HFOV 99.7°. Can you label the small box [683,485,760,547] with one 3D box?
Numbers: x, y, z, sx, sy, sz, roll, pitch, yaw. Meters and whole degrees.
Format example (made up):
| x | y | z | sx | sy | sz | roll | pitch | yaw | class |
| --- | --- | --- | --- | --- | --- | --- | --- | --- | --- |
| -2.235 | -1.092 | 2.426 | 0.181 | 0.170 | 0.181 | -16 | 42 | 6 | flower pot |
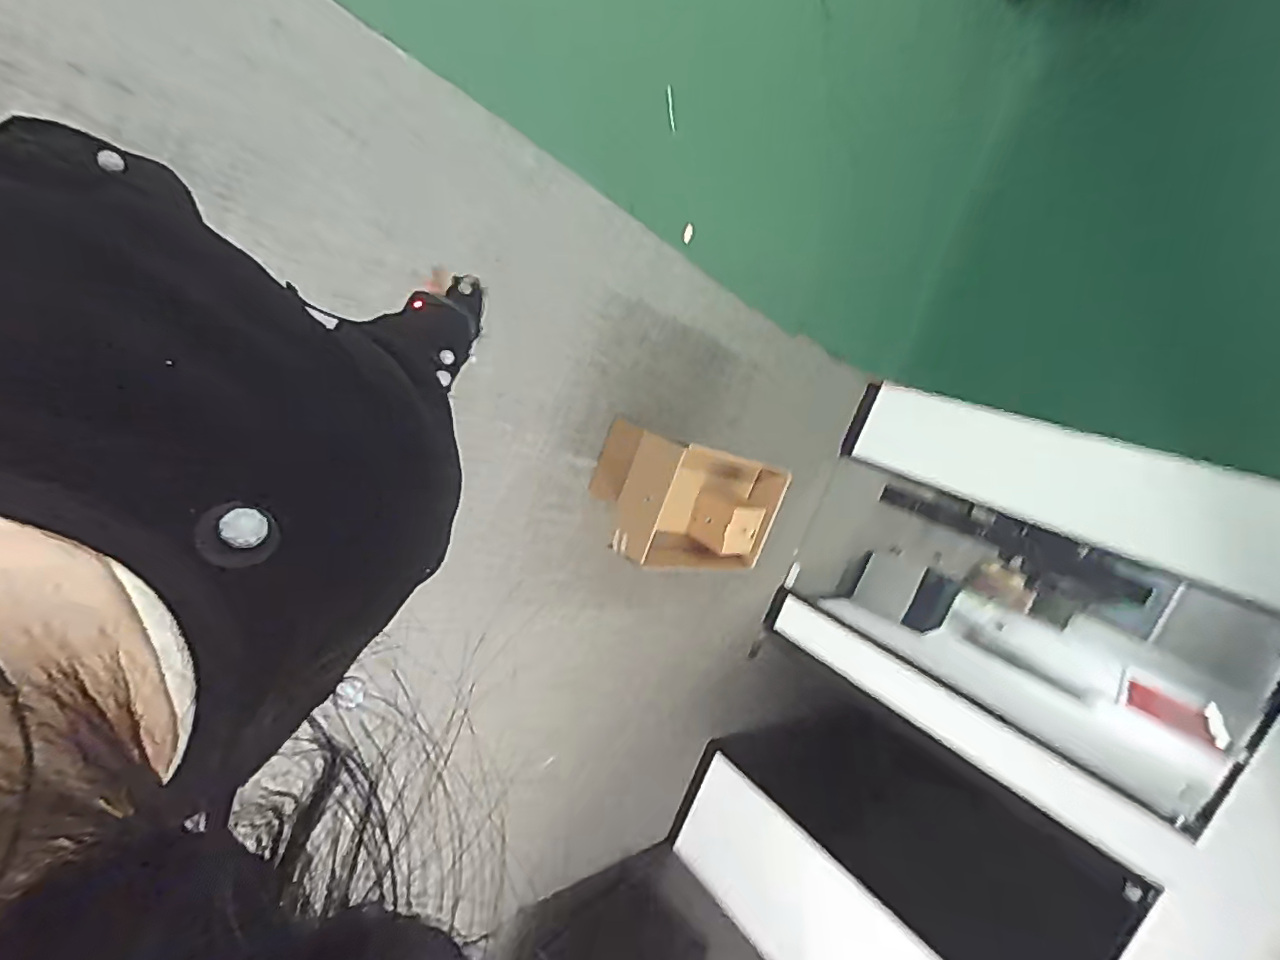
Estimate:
| x | y | z | sx | sy | sz | roll | pitch | yaw | class |
| --- | --- | --- | --- | --- | --- | --- | --- | --- | --- |
| 0.278 | 0.124 | 1.879 | 0.179 | 0.176 | 0.168 | 5 | 108 | -43 | small box |
